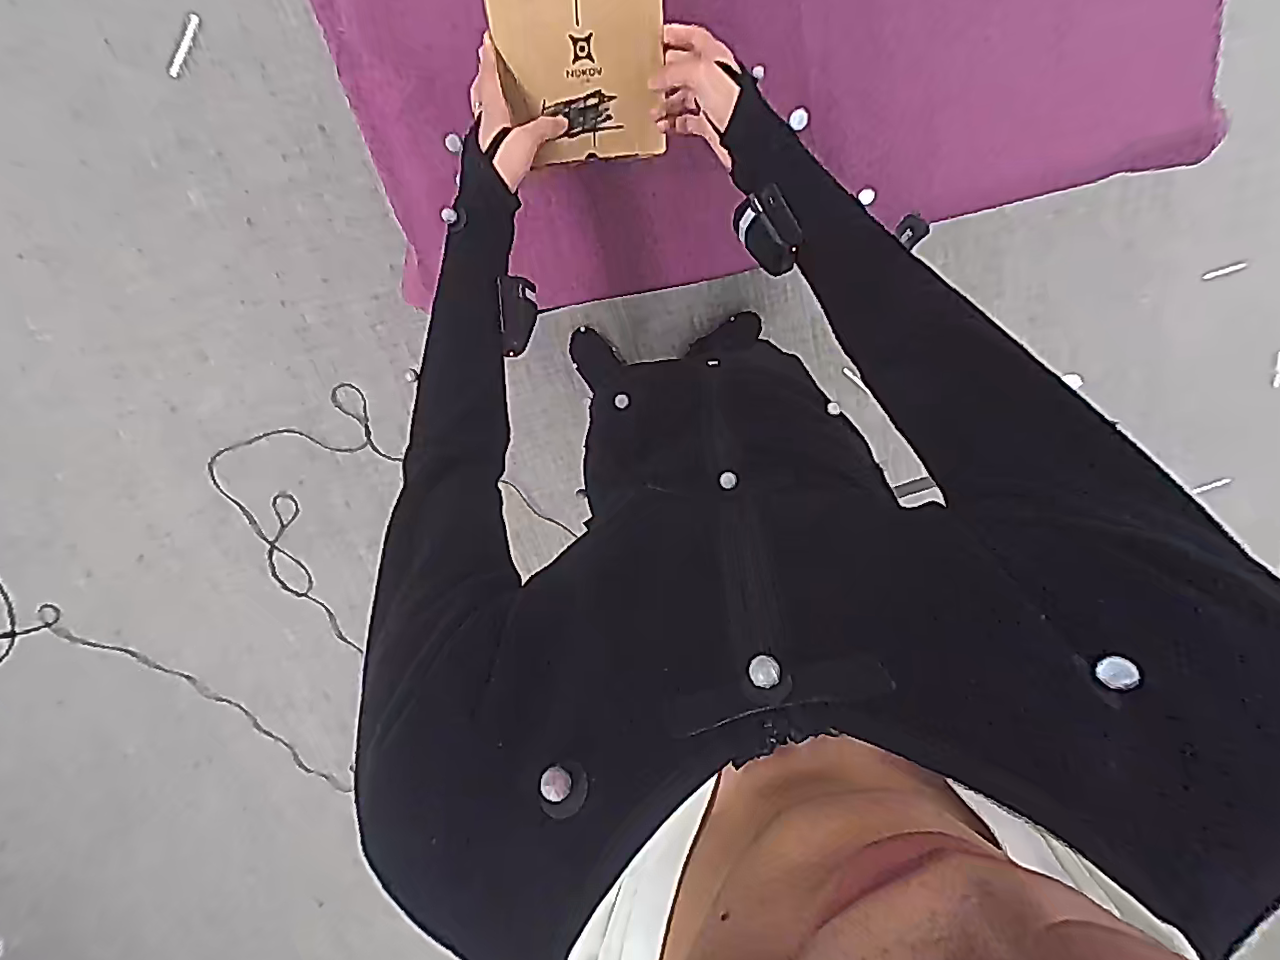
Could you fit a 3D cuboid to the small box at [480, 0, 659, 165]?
[{"bbox_3d":[-0.078,-0.463,0.584,0.168,0.176,0.179,-11,131,-7],"label":"small box"}]
